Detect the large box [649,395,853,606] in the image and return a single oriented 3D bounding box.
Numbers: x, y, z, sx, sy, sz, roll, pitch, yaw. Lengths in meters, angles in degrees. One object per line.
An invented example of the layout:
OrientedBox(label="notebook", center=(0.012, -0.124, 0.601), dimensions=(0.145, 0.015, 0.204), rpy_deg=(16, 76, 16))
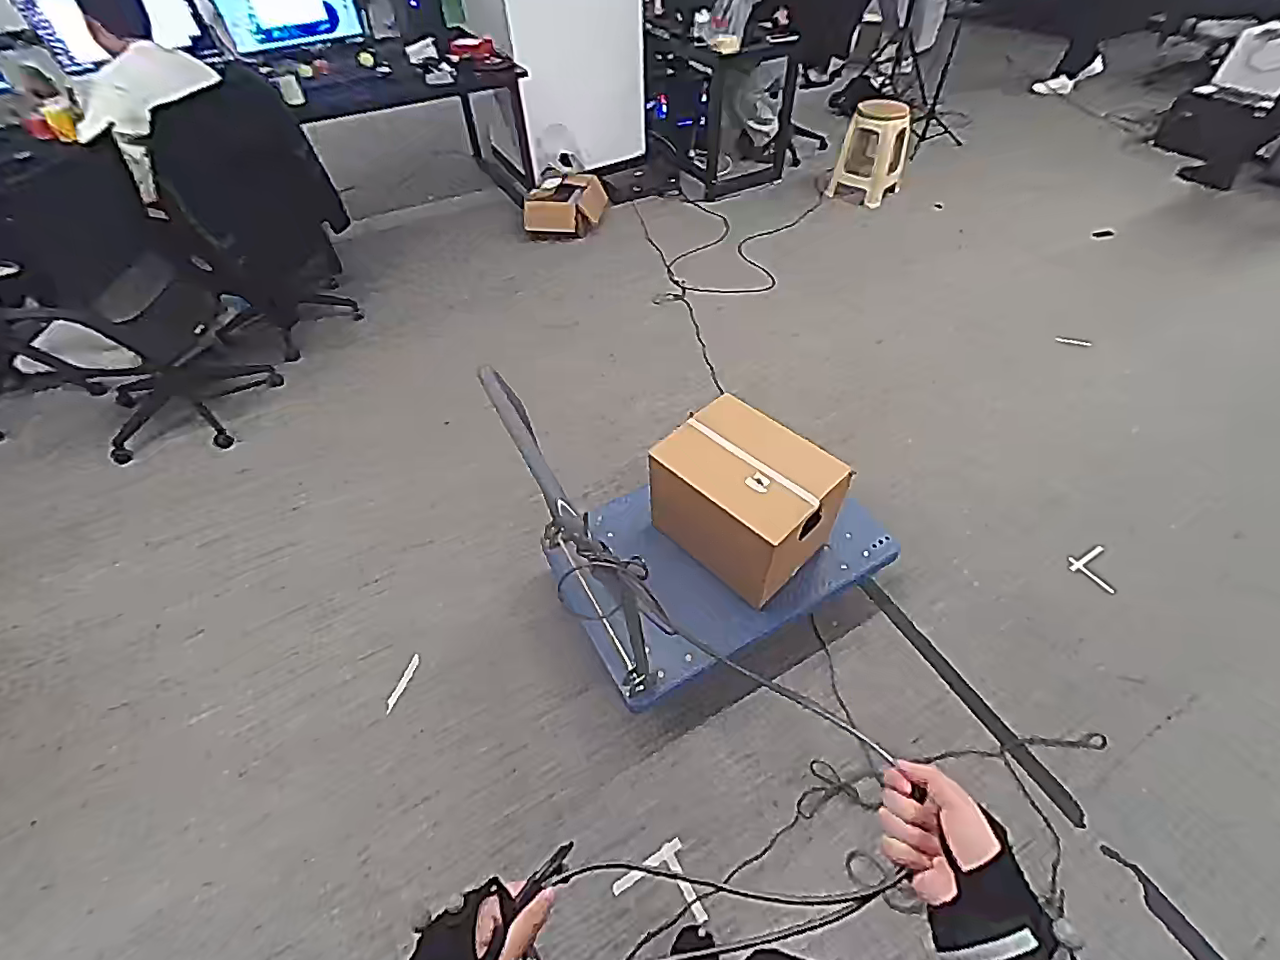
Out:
OrientedBox(label="large box", center=(0.268, 0.047, 1.435), dimensions=(0.320, 0.320, 0.408), rpy_deg=(-38, 59, -24))
